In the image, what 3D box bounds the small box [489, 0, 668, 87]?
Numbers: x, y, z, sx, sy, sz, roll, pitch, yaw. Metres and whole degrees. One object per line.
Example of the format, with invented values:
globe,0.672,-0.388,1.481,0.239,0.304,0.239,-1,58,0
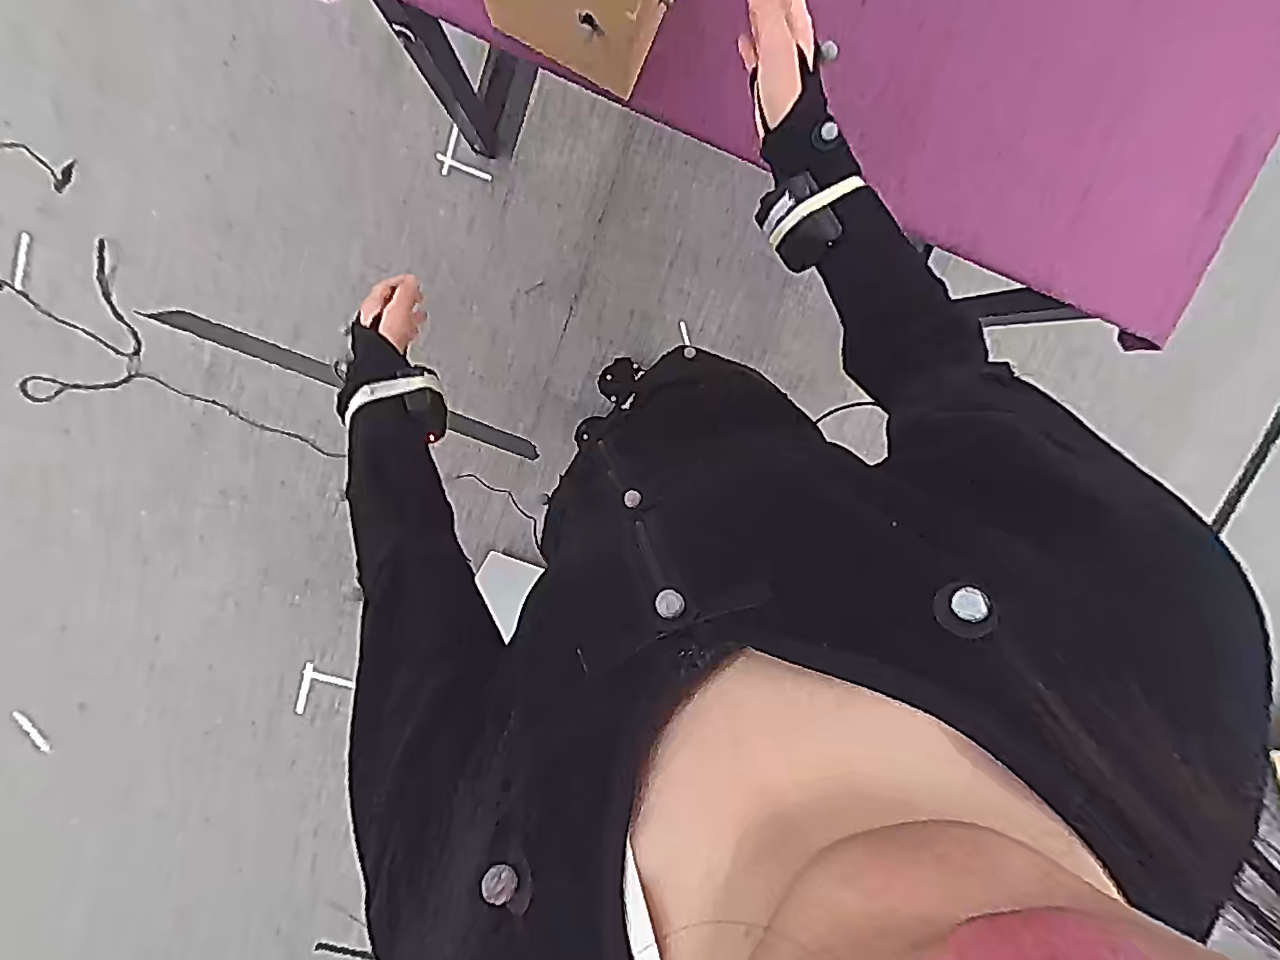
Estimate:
small box,-0.051,-0.544,0.544,0.179,0.176,0.168,24,100,-8
